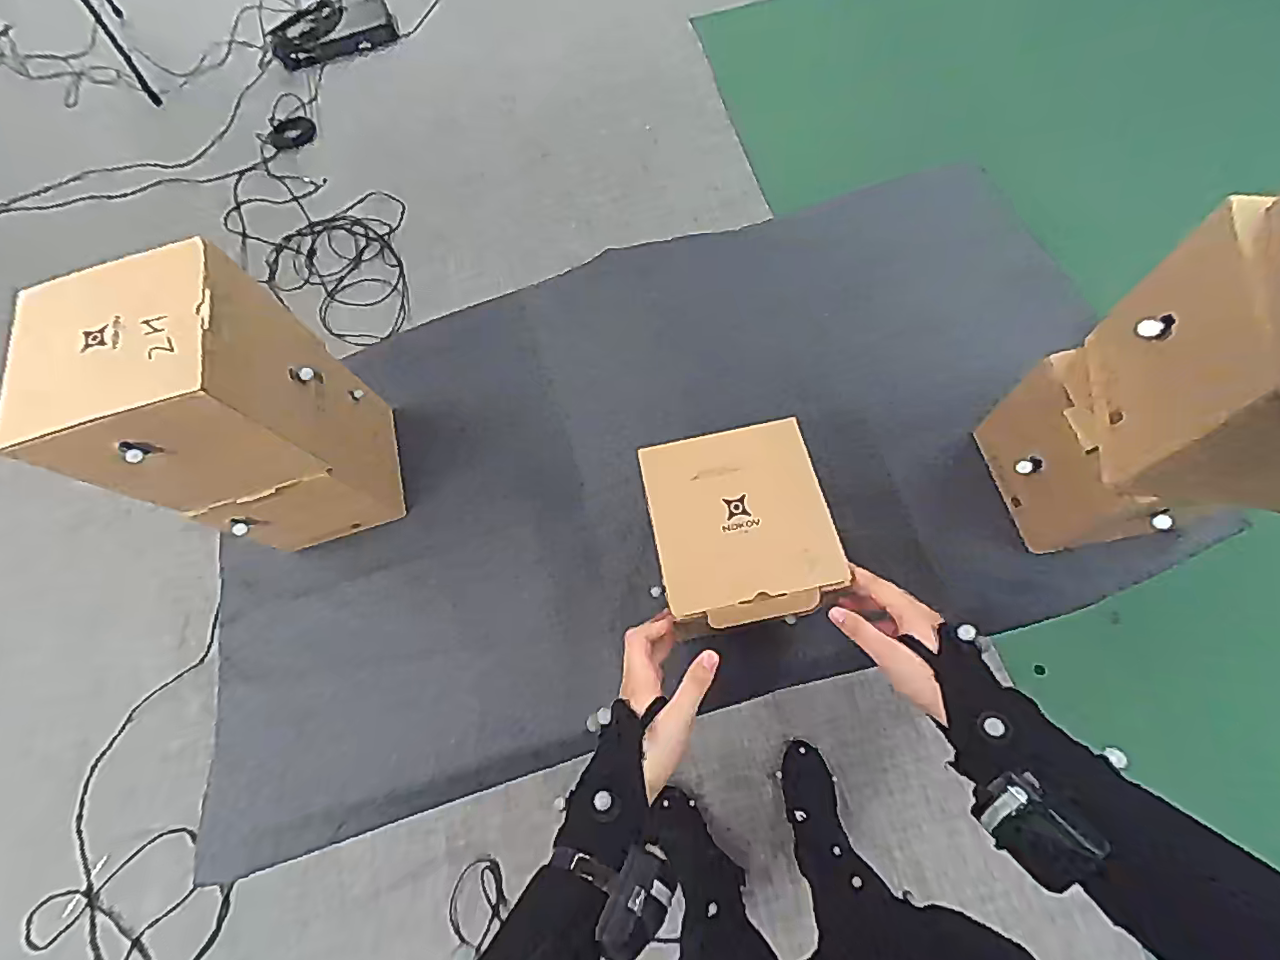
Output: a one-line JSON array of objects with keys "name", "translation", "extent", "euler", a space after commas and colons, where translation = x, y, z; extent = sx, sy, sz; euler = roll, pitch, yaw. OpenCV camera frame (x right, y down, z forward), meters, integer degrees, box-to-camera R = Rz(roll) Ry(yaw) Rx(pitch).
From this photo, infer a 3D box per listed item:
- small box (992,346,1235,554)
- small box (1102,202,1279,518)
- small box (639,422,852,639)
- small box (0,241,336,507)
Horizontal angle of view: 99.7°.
[{"name": "small box", "translation": [0.509, -0.031, 0.568], "extent": [0.179, 0.176, 0.168], "euler": [-12, 66, 3]}, {"name": "small box", "translation": [0.497, -0.079, 0.411], "extent": [0.179, 0.176, 0.168], "euler": [8, 69, 10]}, {"name": "small box", "translation": [0.102, 0.067, 0.584], "extent": [0.168, 0.176, 0.179], "euler": [-13, 66, 0]}, {"name": "small box", "translation": [-0.432, -0.088, 0.525], "extent": [0.179, 0.176, 0.168], "euler": [-16, 70, 0]}]
